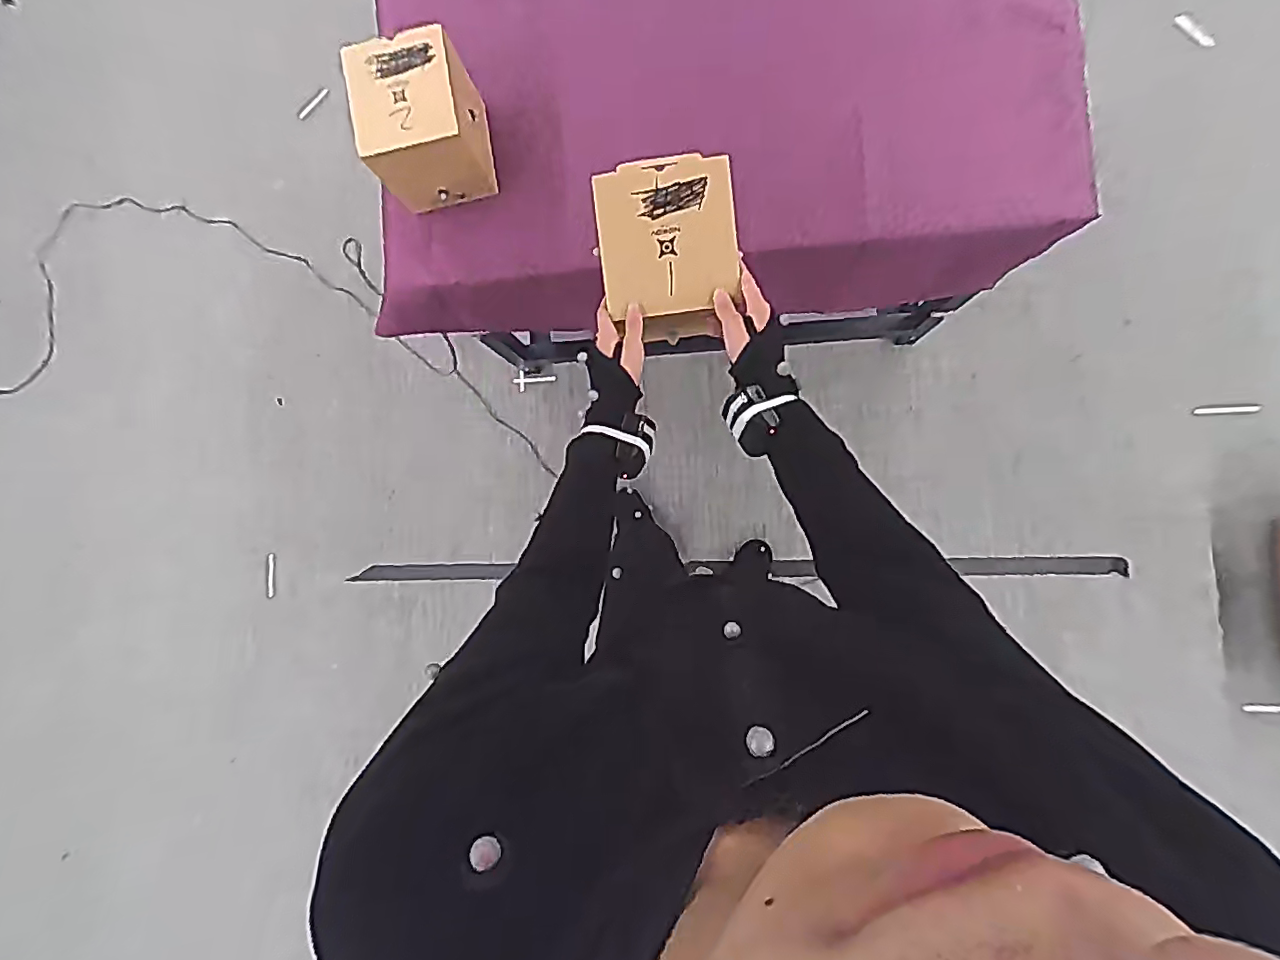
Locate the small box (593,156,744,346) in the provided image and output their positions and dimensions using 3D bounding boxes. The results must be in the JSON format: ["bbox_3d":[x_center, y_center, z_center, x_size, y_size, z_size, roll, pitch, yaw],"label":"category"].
[{"bbox_3d":[0.039,-0.288,0.716,0.168,0.176,0.179,-7,95,6],"label":"small box"}]
